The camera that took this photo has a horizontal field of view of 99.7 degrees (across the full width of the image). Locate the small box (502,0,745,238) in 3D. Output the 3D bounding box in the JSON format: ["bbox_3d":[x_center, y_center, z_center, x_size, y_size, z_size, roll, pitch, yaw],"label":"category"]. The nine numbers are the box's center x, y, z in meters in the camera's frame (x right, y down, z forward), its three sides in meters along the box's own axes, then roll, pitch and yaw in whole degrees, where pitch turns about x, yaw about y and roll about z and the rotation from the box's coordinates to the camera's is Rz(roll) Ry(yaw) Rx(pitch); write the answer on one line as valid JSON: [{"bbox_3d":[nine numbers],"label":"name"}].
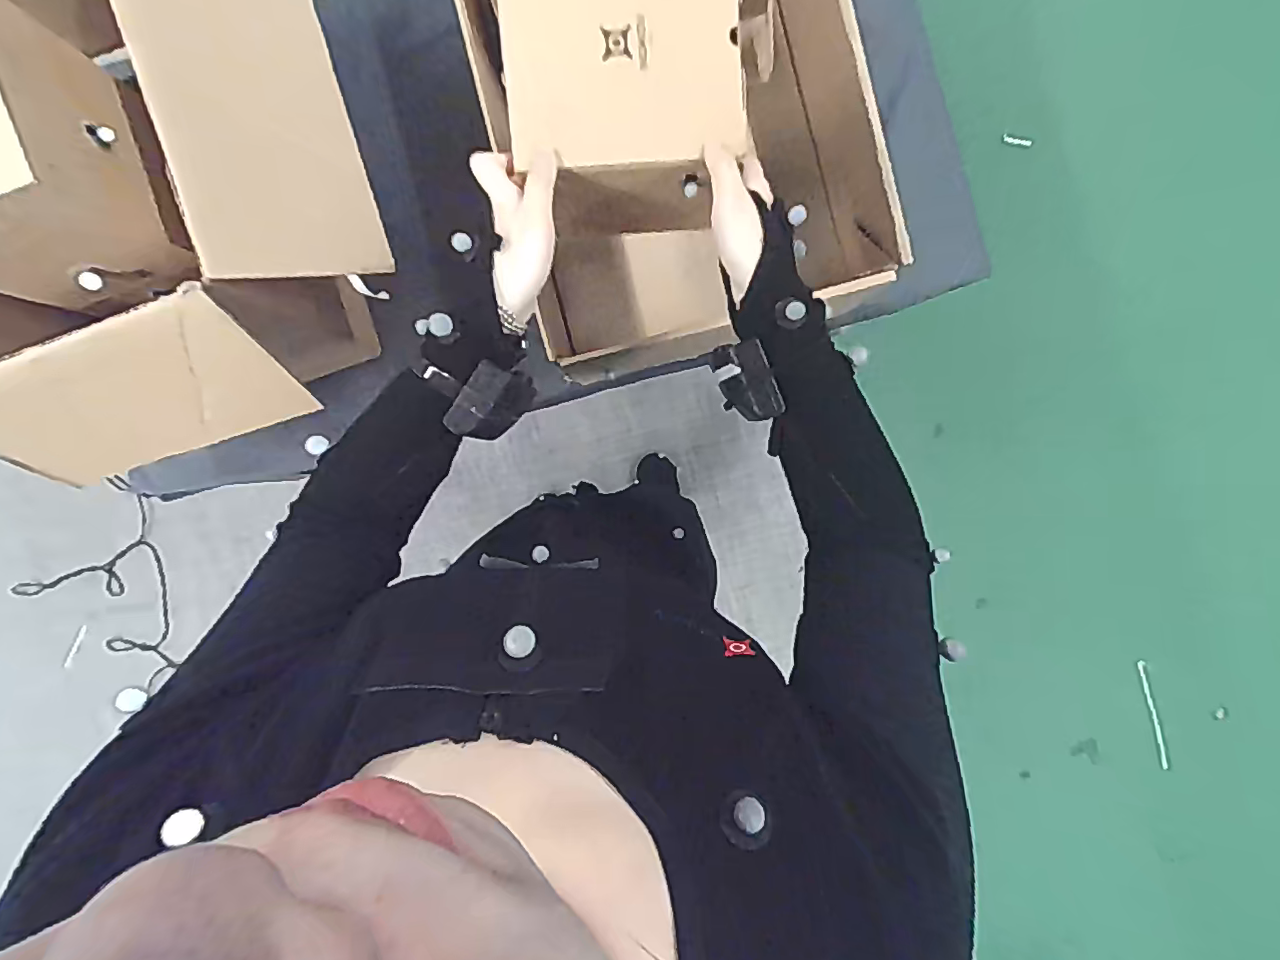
[{"bbox_3d":[-0.012,-0.326,0.477,0.179,0.176,0.168,-4,98,-1],"label":"small box"}]
